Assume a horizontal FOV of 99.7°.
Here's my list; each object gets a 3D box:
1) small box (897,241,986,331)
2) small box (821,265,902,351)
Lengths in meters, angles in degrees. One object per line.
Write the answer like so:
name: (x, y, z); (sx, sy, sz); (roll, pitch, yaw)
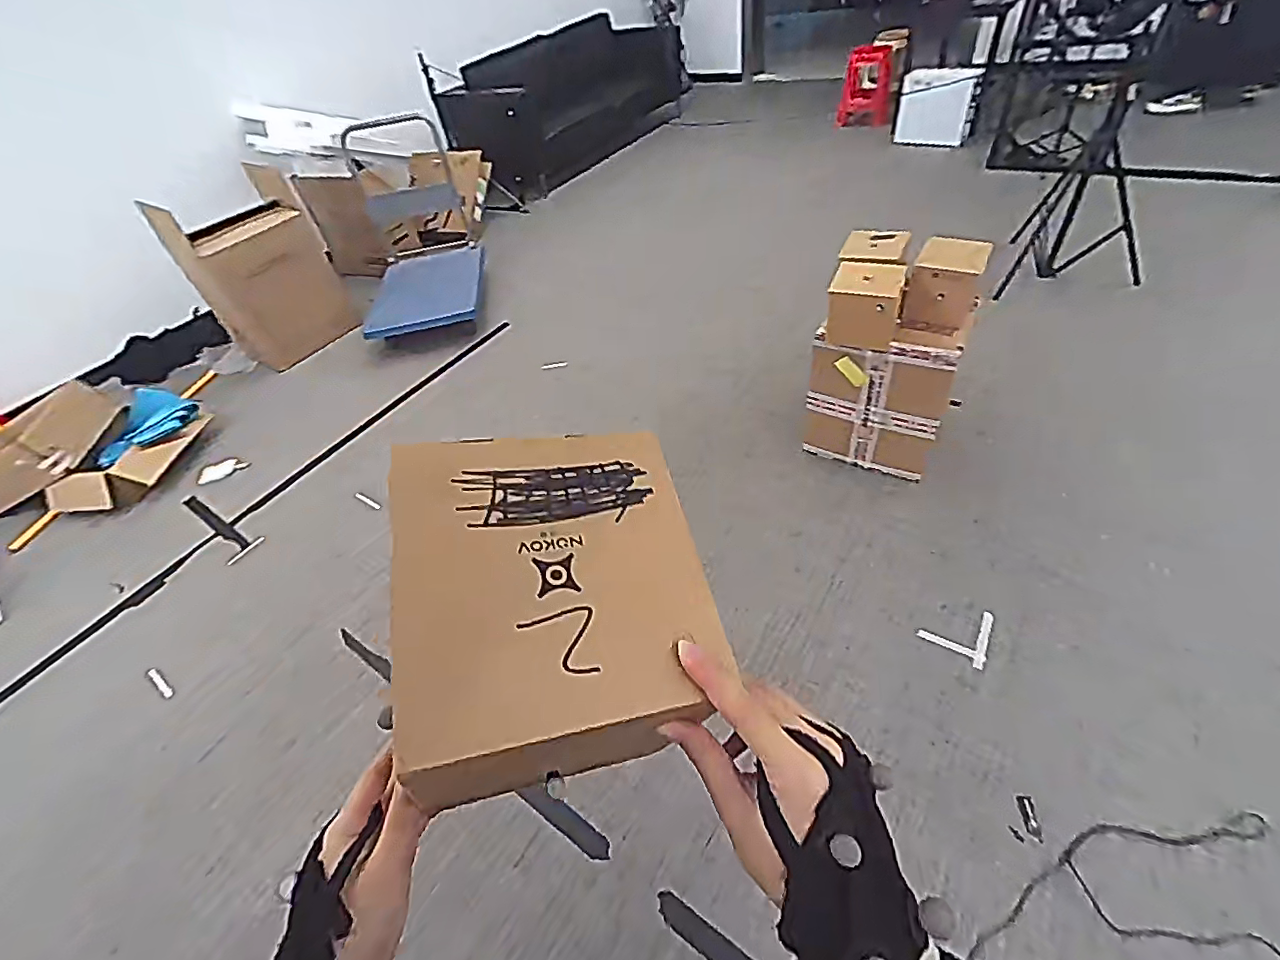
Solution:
small box: (0.850, -0.553, 1.530); (0.168, 0.176, 0.179); (21, 55, 25)
small box: (0.618, -0.482, 1.520); (0.179, 0.176, 0.168); (14, 53, 23)
